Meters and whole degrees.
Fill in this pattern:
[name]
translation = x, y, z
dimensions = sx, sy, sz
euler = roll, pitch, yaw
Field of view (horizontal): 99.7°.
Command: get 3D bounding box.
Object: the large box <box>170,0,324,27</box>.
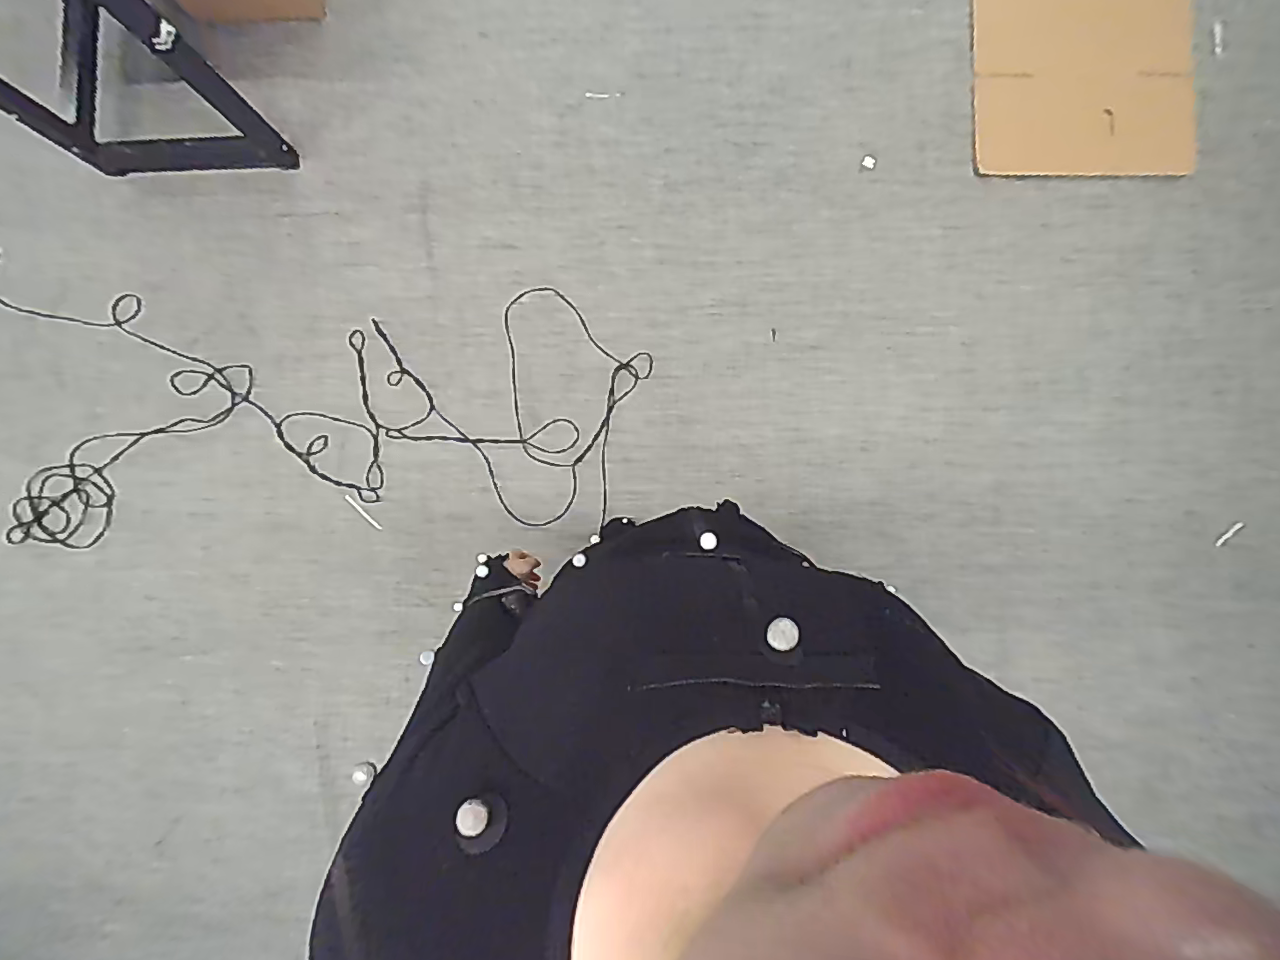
[large box]
translation = -1.145, -1.519, 1.474
dimensions = 0.408, 0.320, 0.320
euler = -1, 88, 0
